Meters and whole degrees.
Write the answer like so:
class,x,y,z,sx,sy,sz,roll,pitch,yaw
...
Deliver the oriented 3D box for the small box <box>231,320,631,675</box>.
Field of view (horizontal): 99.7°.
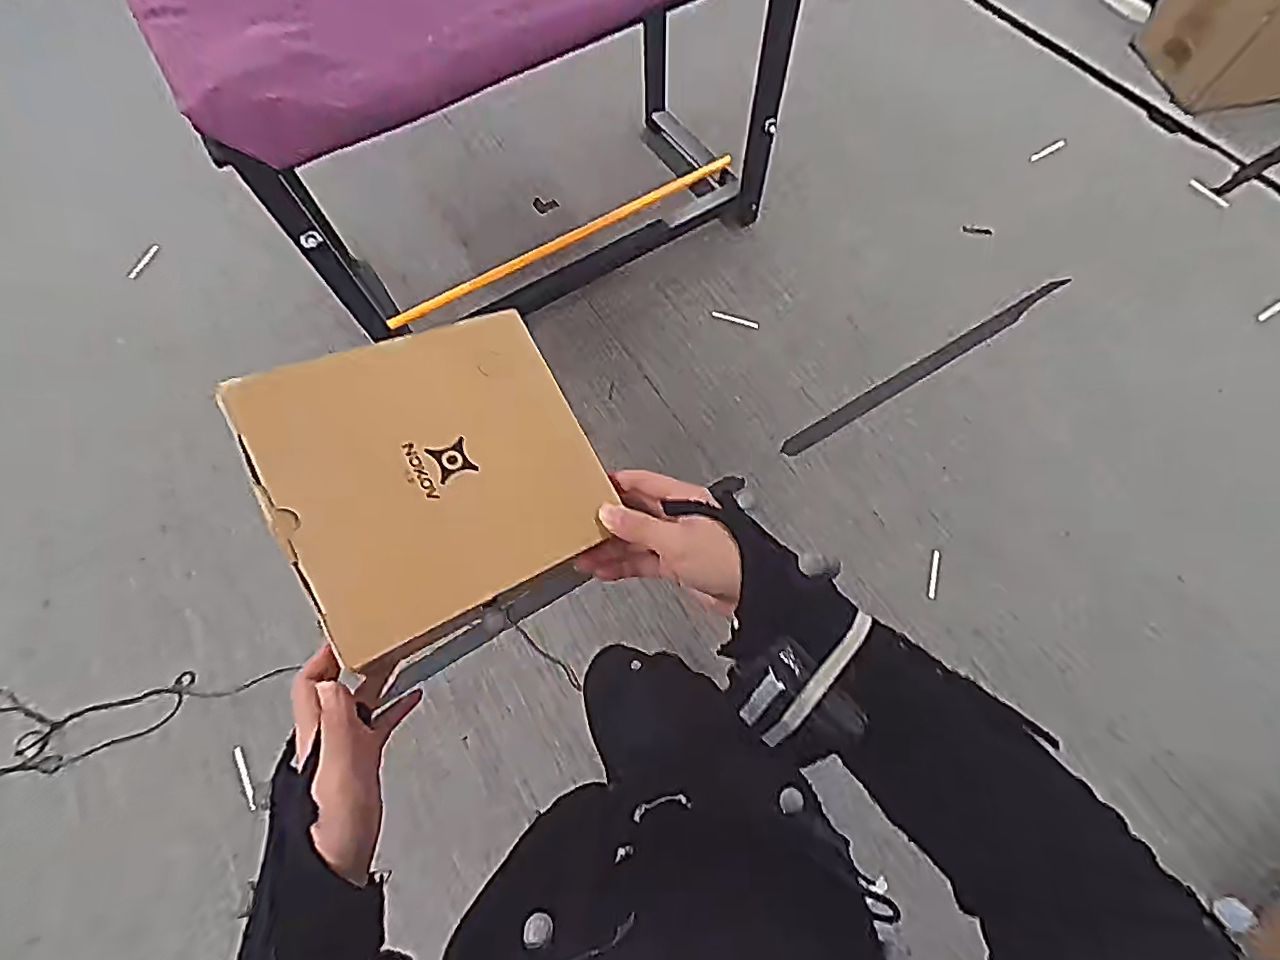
class,x,y,z,sx,sy,sz,roll,pitch,yaw
small box,-0.140,0.018,0.384,0.179,0.176,0.168,-25,82,-28
